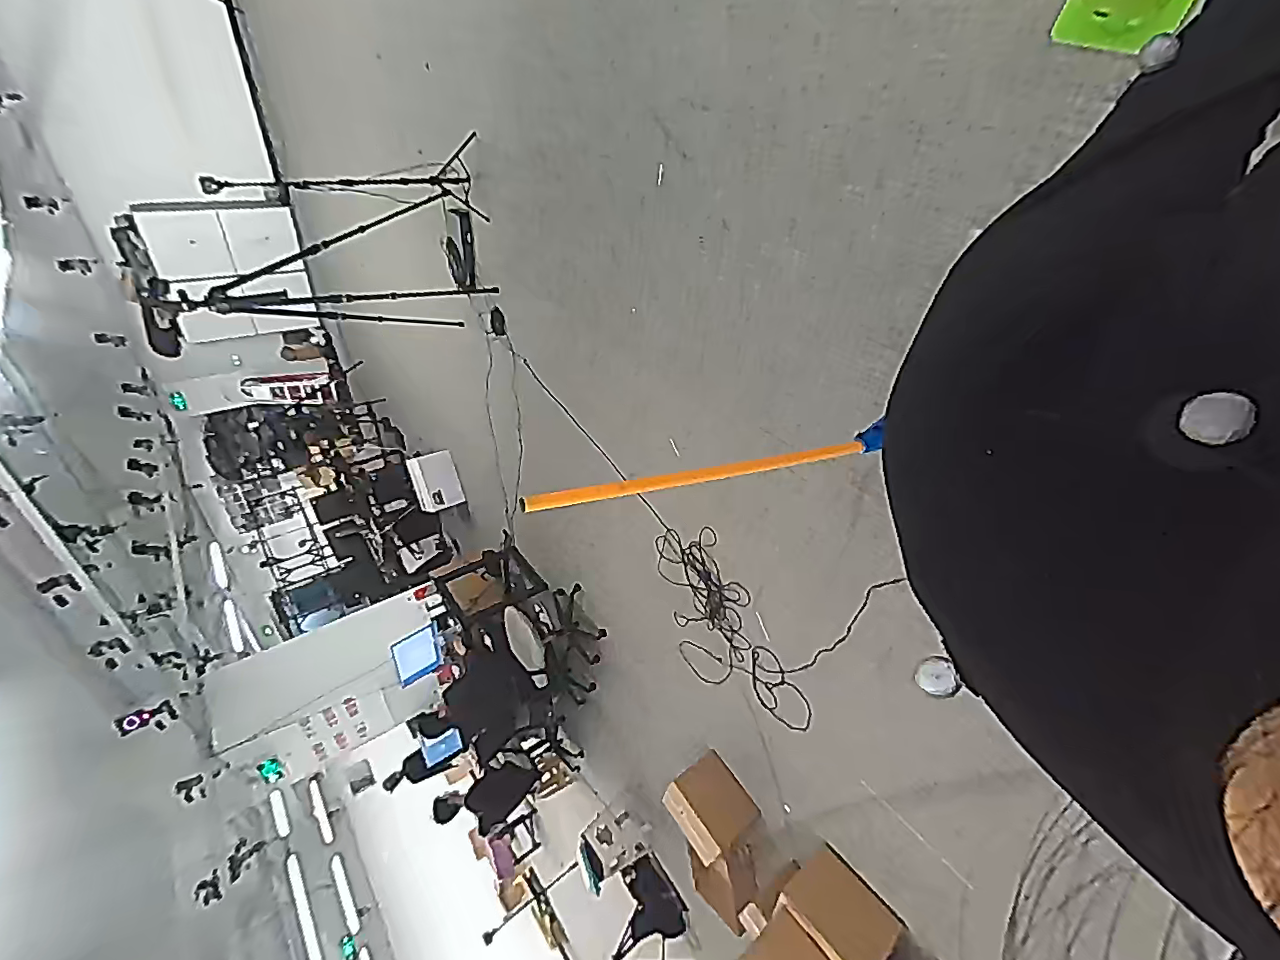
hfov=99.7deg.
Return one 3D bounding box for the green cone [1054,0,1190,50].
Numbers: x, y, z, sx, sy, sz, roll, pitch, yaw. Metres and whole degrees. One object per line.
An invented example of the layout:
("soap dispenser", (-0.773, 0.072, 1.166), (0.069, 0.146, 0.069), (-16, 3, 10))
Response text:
("green cone", (0.756, -0.853, 0.874), (0.202, 0.368, 0.200), (45, 141, 34))
